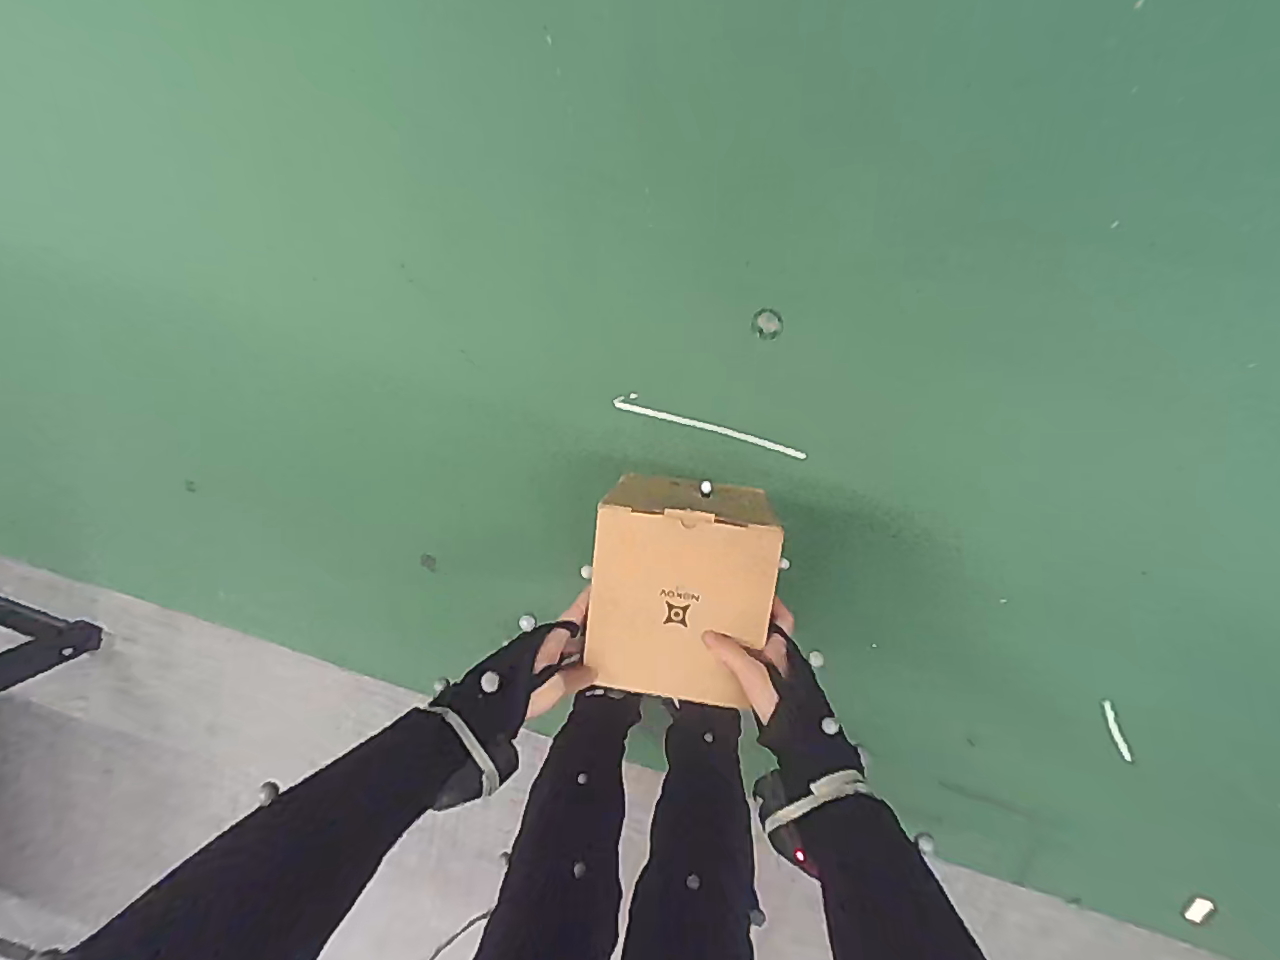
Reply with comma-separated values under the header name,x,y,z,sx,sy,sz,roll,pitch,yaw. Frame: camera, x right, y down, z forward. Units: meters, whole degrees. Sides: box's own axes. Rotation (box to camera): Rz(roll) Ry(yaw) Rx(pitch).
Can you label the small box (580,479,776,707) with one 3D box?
name,x,y,z,sx,sy,sz,roll,pitch,yaw
small box,0.042,0.106,0.579,0.168,0.176,0.179,8,100,6
